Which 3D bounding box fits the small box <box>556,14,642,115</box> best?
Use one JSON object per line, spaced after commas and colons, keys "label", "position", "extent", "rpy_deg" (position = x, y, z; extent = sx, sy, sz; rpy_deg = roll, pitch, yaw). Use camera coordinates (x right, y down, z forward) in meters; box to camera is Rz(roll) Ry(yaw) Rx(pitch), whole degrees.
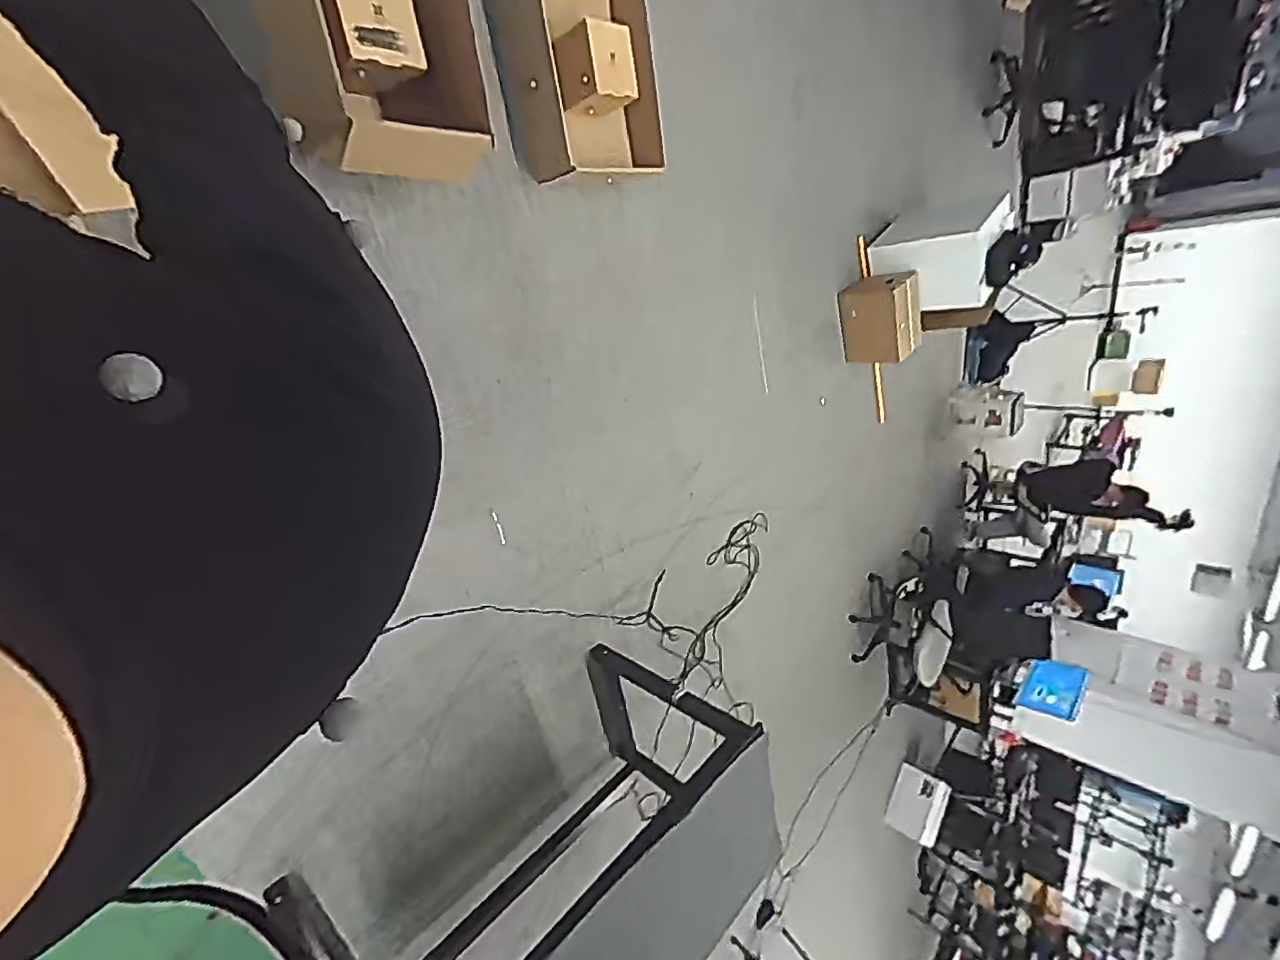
{"label": "small box", "position": [-0.120, -1.188, 1.558], "extent": [0.168, 0.176, 0.179], "rpy_deg": [-27, 116, -38]}
